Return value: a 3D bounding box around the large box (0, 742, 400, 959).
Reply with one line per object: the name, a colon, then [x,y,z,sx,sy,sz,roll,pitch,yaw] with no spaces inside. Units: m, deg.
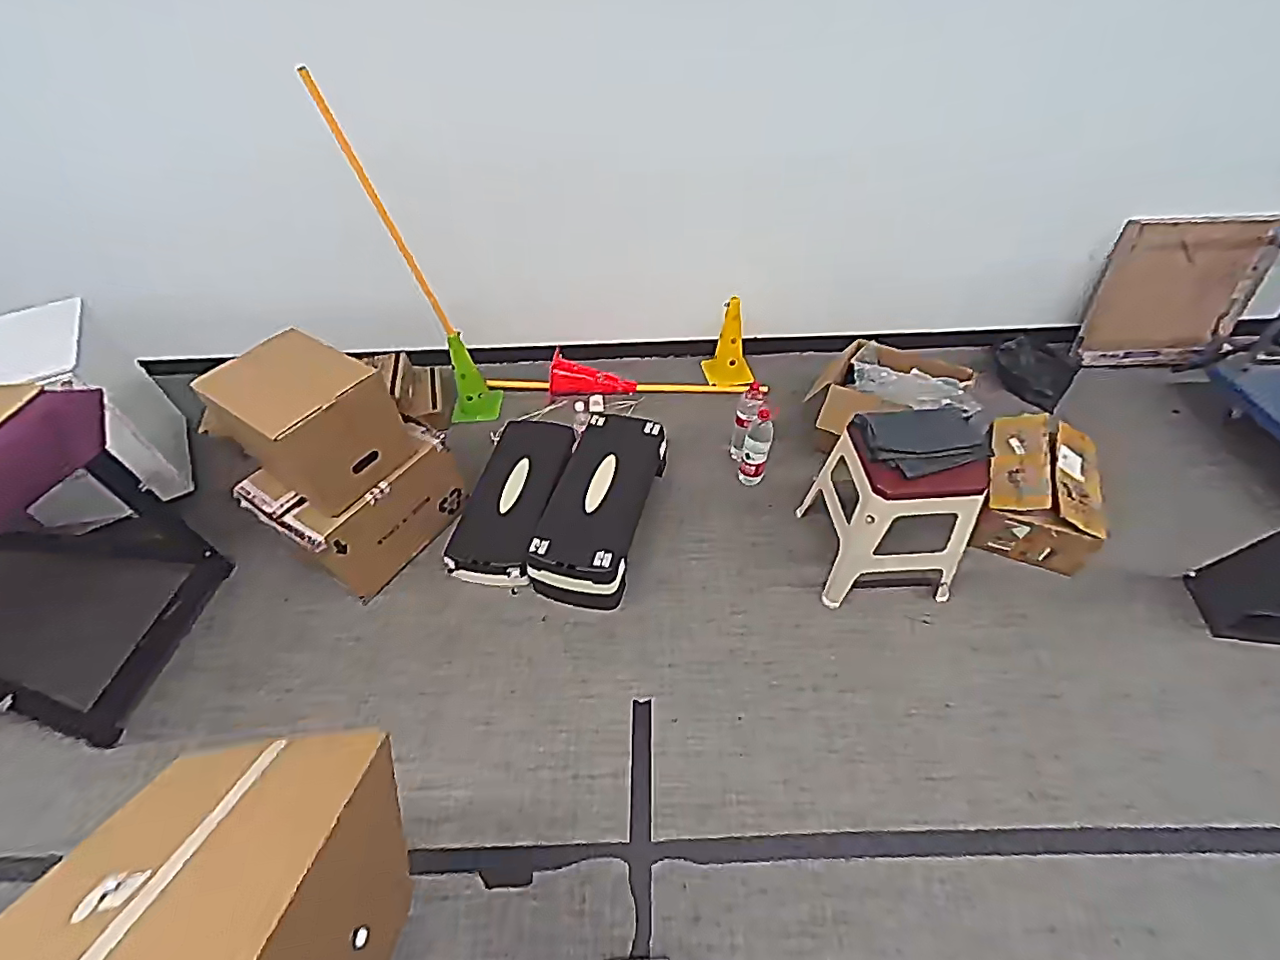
large box: [-0.533,0.606,0.686,0.320,0.320,0.408,-4,9,-6]
